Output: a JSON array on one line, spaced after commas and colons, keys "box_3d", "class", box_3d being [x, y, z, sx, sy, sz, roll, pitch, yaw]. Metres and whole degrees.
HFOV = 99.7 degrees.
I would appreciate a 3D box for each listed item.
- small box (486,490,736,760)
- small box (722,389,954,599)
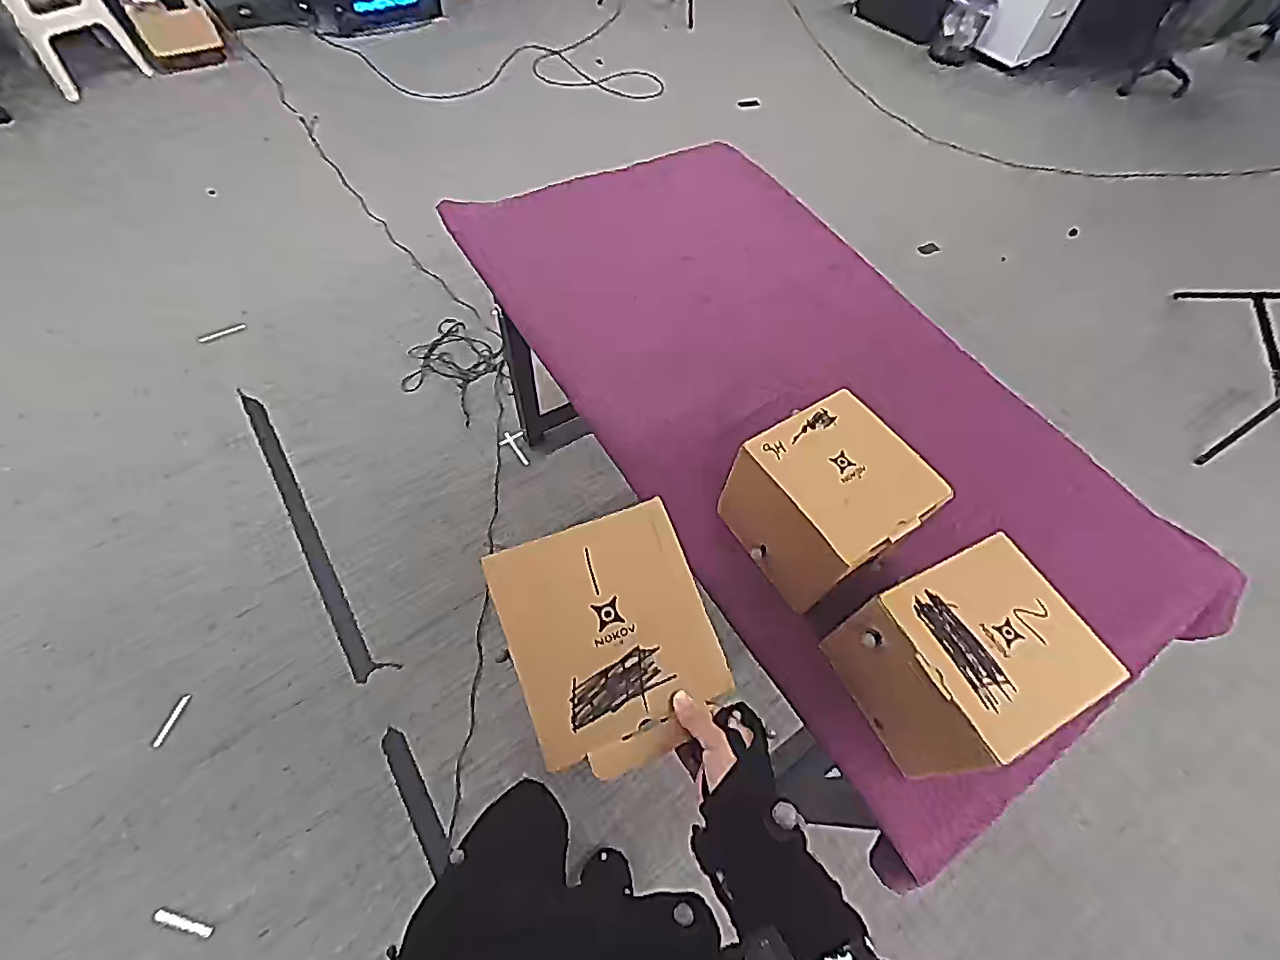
[{"box_3d": [-0.038, 0.132, 0.519, 0.168, 0.176, 0.179, -18, 78, -17], "class": "small box"}, {"box_3d": [0.226, 0.028, 0.665, 0.168, 0.176, 0.179, -29, 67, -19], "class": "small box"}]
